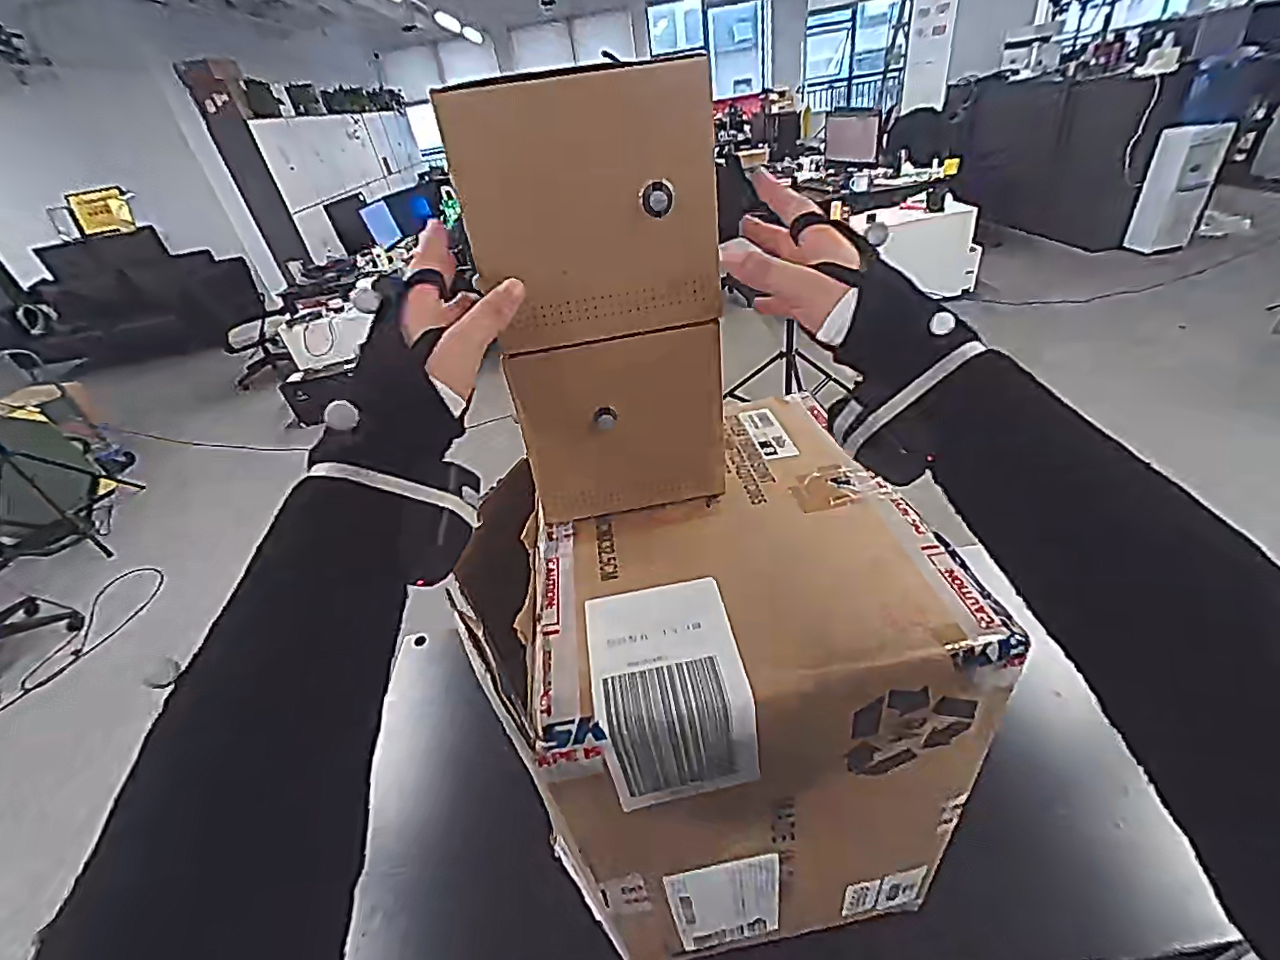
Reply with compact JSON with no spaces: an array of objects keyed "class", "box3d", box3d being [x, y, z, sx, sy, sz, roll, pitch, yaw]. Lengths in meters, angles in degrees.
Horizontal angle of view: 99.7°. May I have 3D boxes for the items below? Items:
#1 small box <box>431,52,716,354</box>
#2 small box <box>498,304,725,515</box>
[{"class":"small box","box3d":[-0.042,-0.218,0.435,0.179,0.176,0.168,-12,32,-4]},{"class":"small box","box3d":[-0.023,-0.084,0.528,0.179,0.176,0.168,-11,33,-2]}]
